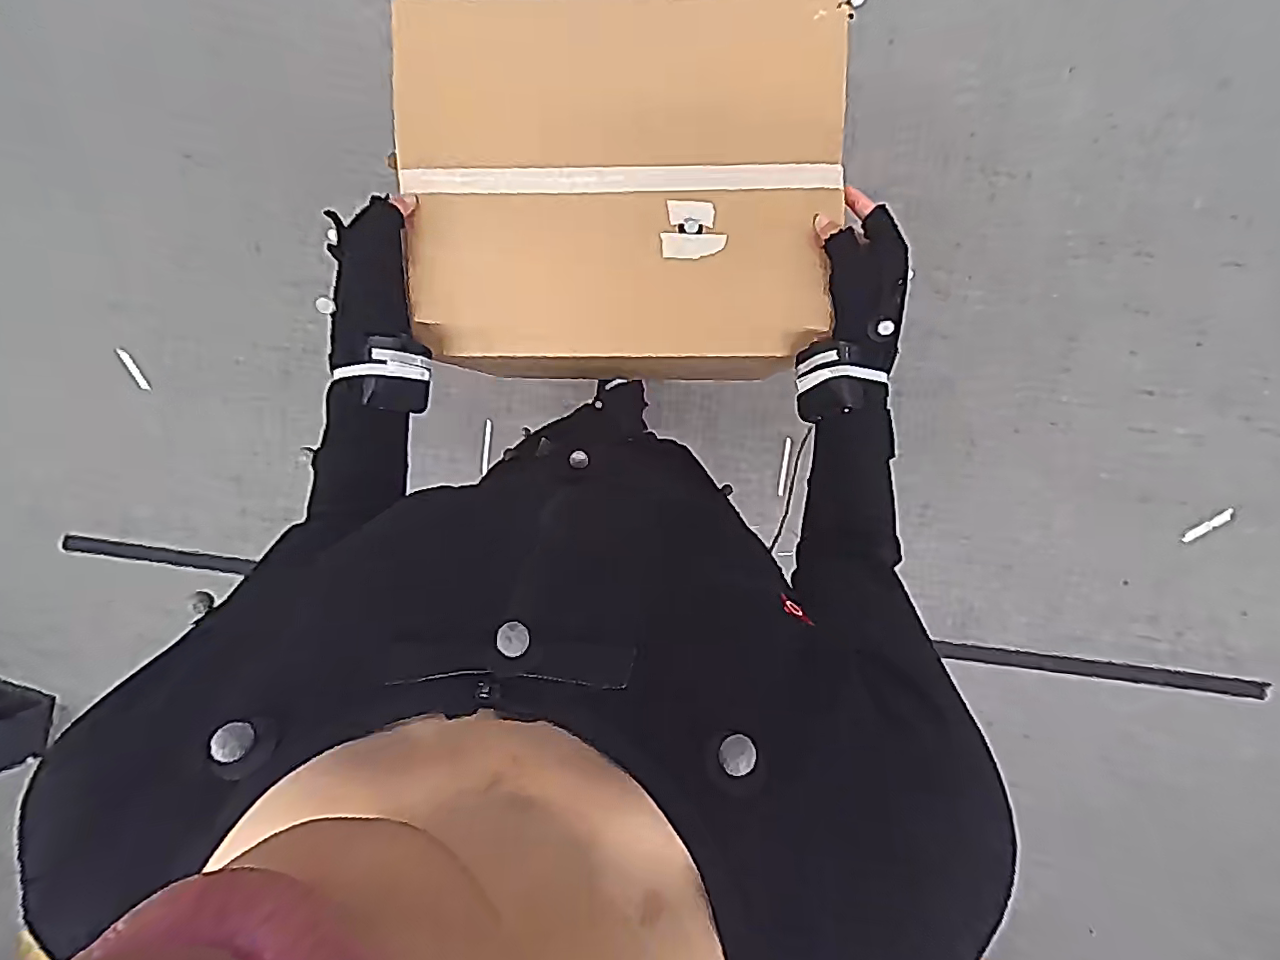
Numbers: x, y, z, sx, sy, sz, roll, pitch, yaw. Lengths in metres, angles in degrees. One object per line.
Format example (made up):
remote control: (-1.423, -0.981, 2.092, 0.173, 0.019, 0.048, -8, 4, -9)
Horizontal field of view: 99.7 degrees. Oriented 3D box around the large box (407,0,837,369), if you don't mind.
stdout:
large box: (-0.016, -0.309, 0.660, 0.408, 0.320, 0.320, 0, 98, 1)
